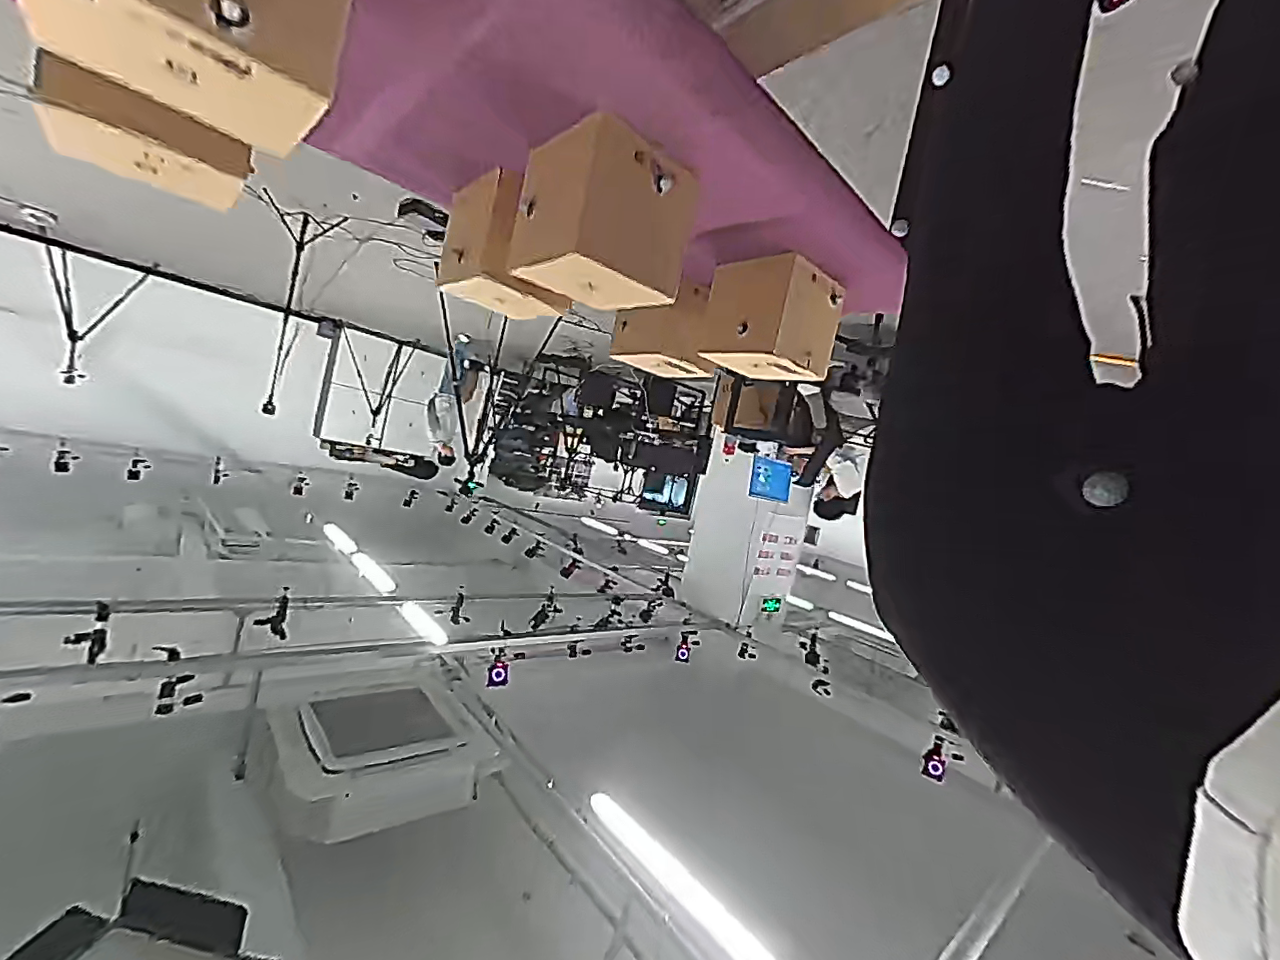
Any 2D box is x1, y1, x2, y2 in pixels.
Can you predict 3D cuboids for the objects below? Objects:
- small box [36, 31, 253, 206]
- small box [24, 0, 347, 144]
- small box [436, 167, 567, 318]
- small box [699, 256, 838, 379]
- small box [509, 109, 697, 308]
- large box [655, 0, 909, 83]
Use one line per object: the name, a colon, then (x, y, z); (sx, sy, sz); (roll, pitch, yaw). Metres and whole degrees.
small box: (-0.543, -0.446, 0.611); (0.168, 0.176, 0.179); (8, -176, -44)
small box: (-0.321, -0.391, 0.395); (0.168, 0.176, 0.179); (8, -173, -45)
small box: (-0.217, -0.389, 0.913); (0.168, 0.176, 0.179); (12, -179, -43)
small box: (0.236, -0.287, 0.972); (0.168, 0.176, 0.179); (12, -177, -41)
small box: (-0.048, -0.344, 0.720); (0.168, 0.176, 0.179); (10, -176, -41)
large box: (0.257, -0.958, 0.871); (0.320, 0.320, 0.408); (12, -177, -40)
